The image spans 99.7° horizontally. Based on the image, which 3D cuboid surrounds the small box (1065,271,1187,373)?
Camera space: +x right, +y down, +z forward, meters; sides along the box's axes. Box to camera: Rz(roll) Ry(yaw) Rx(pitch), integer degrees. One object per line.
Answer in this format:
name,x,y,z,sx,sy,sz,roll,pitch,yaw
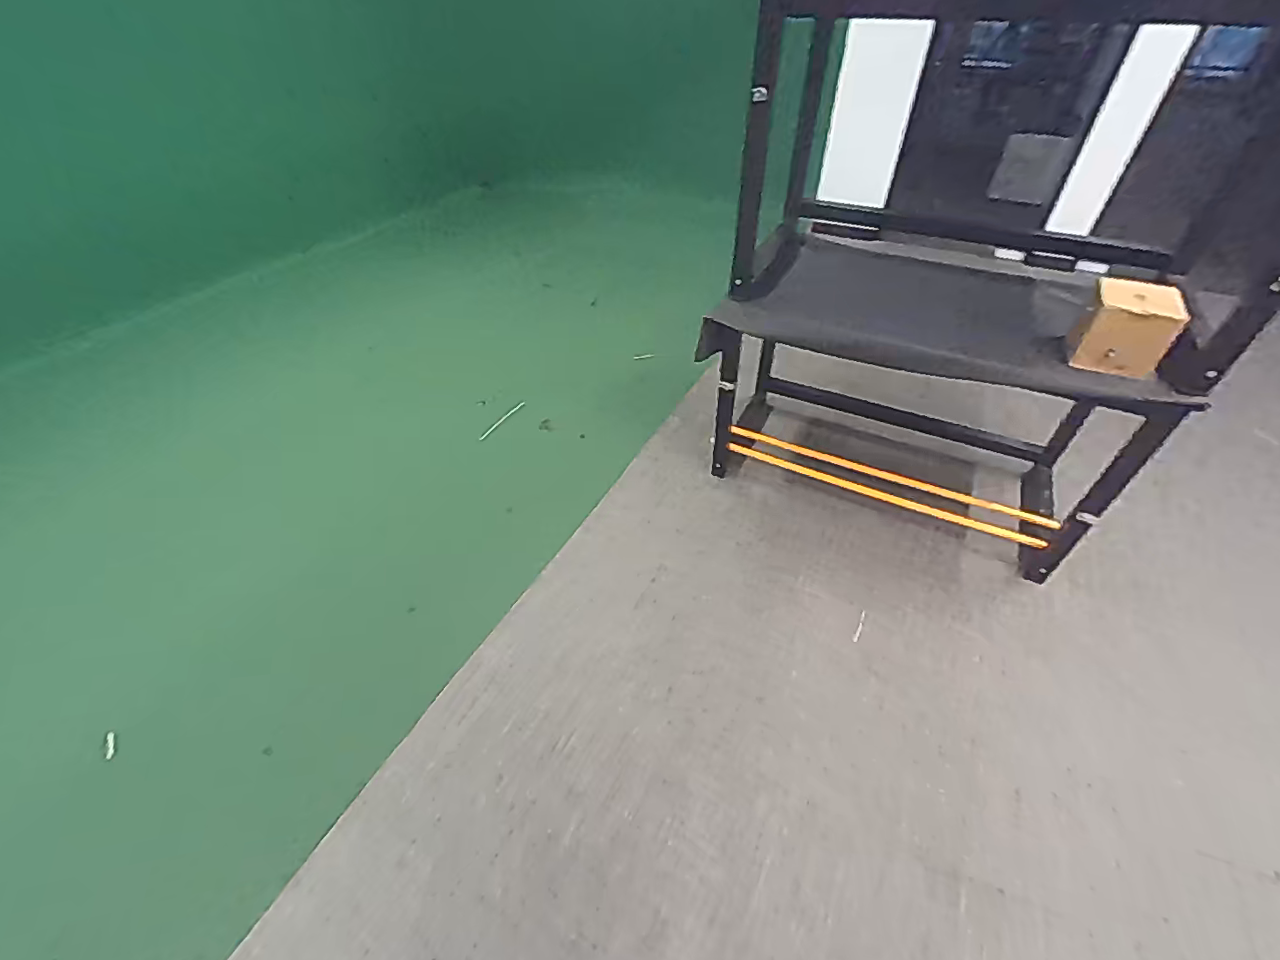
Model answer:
small box,1.192,-0.393,1.344,0.168,0.176,0.179,19,48,21
